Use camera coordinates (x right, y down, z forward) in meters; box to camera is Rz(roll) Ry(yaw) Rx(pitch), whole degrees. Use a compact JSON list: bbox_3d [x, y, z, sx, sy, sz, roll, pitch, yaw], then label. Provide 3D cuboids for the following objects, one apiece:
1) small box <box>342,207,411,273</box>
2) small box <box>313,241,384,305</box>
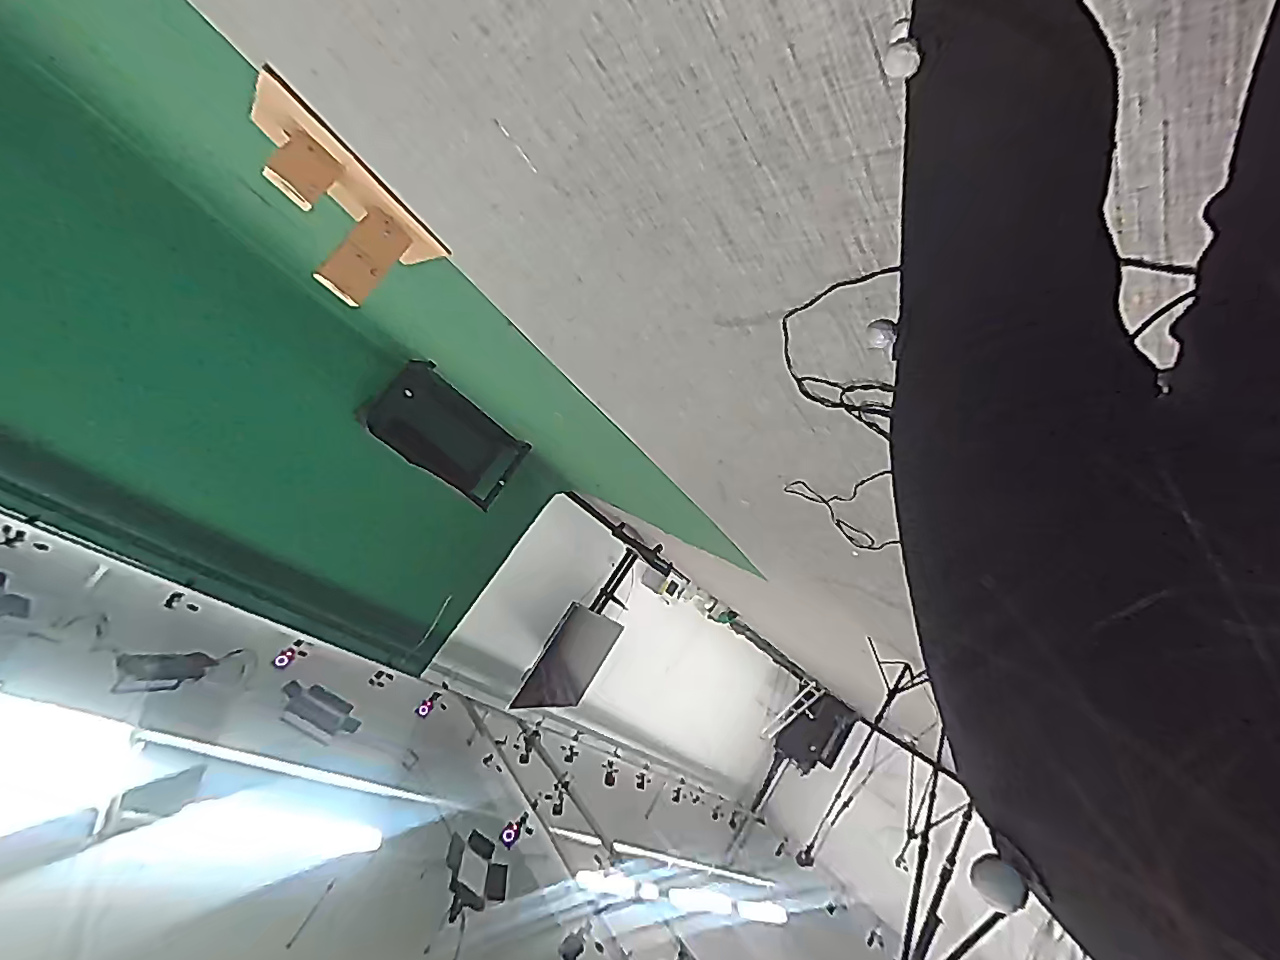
[{"bbox_3d":[-1.024,-0.928,2.102,0.179,0.176,0.168,21,164,50],"label":"small box"},{"bbox_3d":[-1.114,-0.793,2.074,0.179,0.176,0.168,23,165,49],"label":"small box"}]
